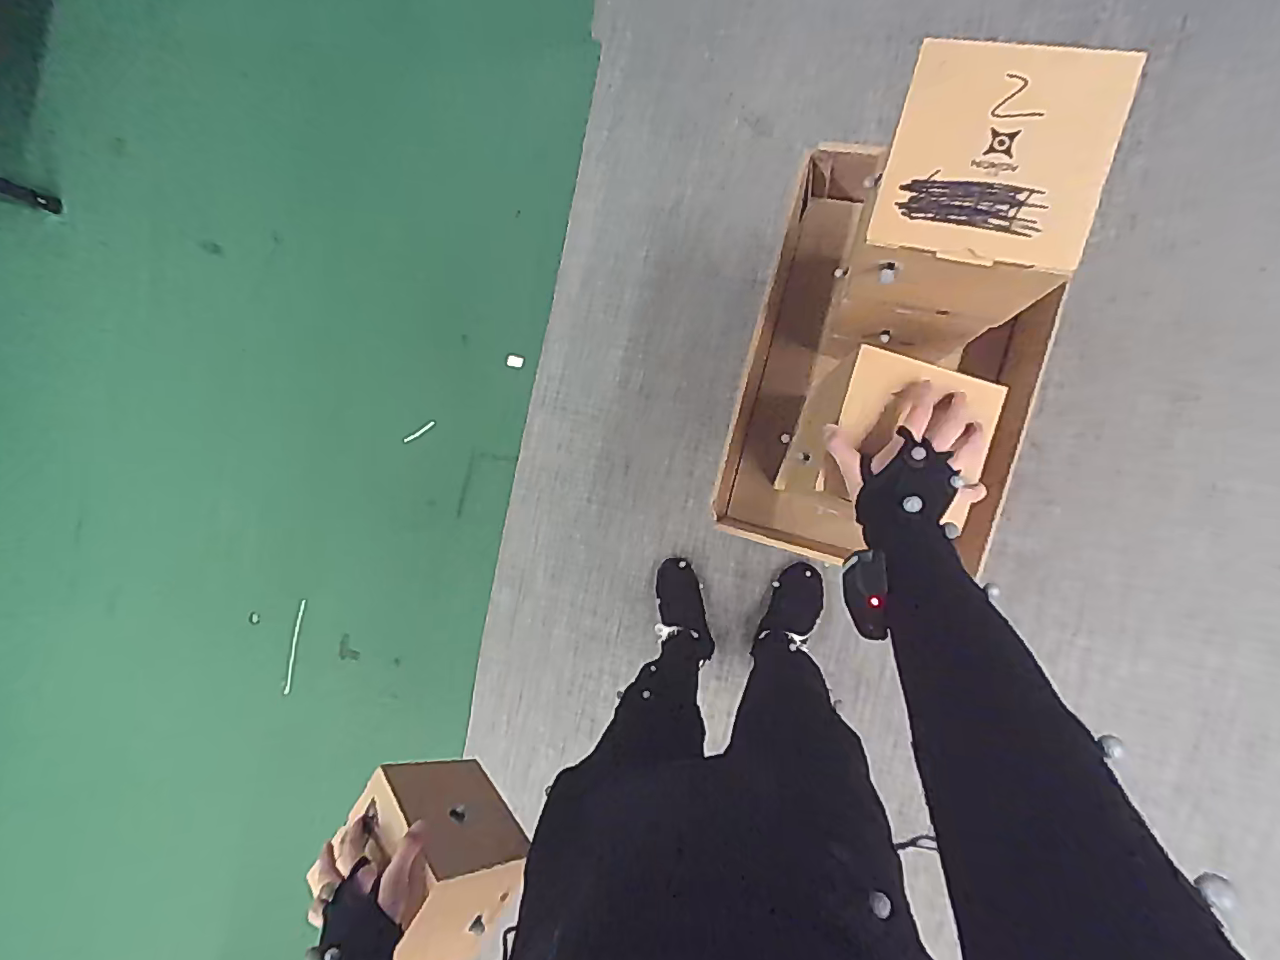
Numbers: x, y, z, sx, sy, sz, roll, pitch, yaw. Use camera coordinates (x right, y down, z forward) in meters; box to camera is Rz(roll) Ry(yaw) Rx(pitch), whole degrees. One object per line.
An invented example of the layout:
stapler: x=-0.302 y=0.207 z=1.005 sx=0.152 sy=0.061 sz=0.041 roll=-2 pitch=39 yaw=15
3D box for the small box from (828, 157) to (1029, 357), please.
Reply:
small box: x=0.349 y=-0.273 z=0.692 sx=0.168 sy=0.176 sz=0.179 roll=15 pitch=95 yaw=13

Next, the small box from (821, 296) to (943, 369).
small box: x=0.390 y=-0.277 z=0.849 sx=0.168 sy=0.176 sz=0.179 roll=15 pitch=95 yaw=14

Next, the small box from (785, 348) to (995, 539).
small box: x=0.296 y=-0.038 z=0.683 sx=0.168 sy=0.176 sz=0.179 roll=19 pitch=88 yaw=4

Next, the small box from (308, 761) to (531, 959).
small box: x=-0.279 y=0.492 z=0.697 sx=0.179 sy=0.176 sz=0.168 roll=31 pitch=88 yaw=37
